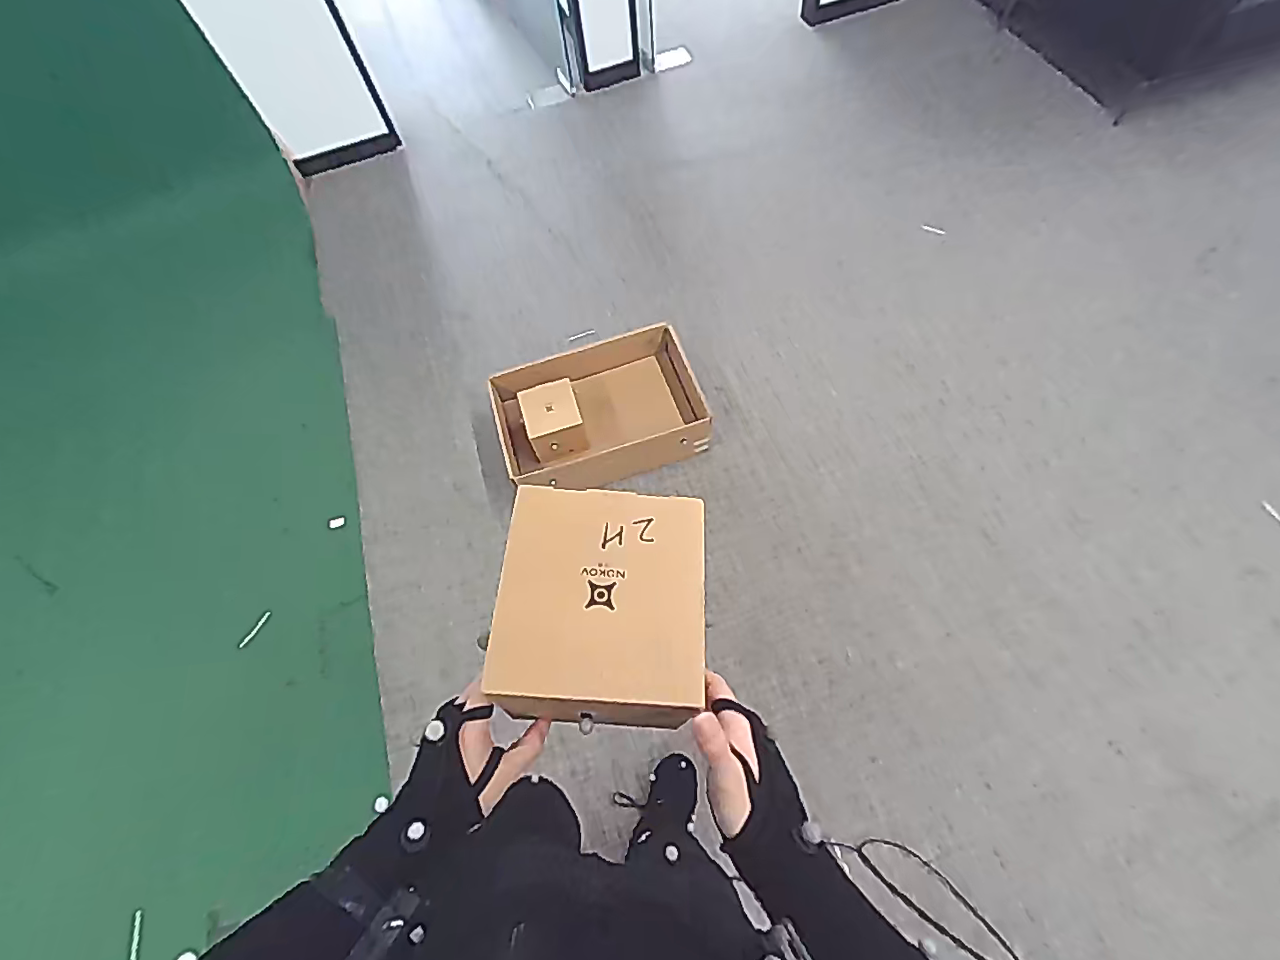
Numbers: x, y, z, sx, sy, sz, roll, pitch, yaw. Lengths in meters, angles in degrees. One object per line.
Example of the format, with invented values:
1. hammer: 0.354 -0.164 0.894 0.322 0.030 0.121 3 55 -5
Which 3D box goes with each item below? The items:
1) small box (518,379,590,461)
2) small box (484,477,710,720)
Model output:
1. small box: -0.262 -0.178 1.676 0.168 0.176 0.179 -18 64 -4
2. small box: -0.031 0.118 0.501 0.168 0.176 0.179 5 61 -2
